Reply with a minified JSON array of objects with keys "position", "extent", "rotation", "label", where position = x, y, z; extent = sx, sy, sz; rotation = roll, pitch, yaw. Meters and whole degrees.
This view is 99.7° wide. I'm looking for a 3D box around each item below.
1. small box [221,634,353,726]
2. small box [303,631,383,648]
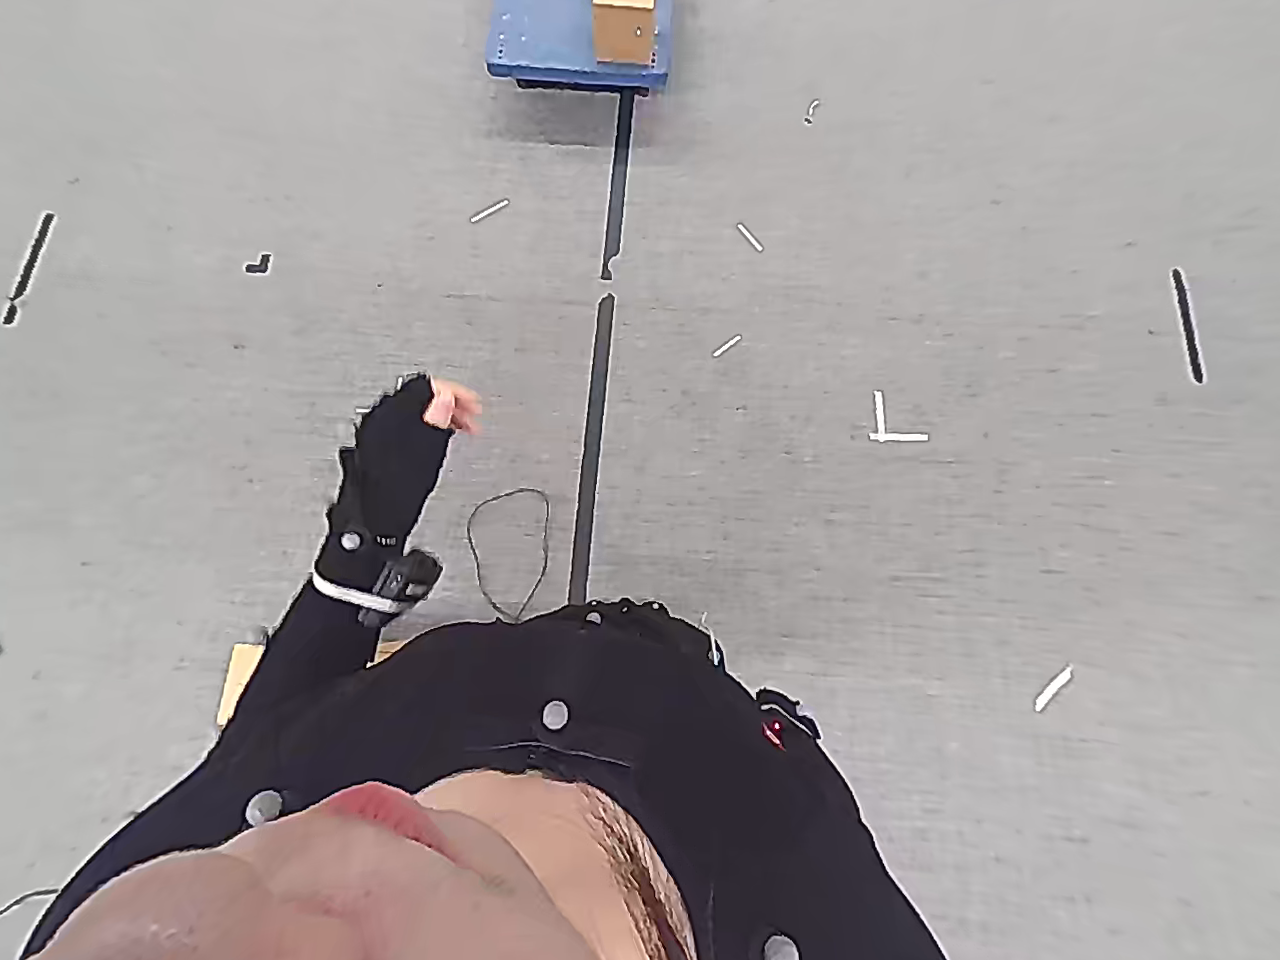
[{"position":[-0.788,0.446,1.228],"extent":[0.179,0.176,0.168],"rotation":[5,77,2],"label":"small box"},{"position":[-0.788,0.484,1.388],"extent":[0.179,0.176,0.168],"rotation":[6,78,2],"label":"small box"}]
